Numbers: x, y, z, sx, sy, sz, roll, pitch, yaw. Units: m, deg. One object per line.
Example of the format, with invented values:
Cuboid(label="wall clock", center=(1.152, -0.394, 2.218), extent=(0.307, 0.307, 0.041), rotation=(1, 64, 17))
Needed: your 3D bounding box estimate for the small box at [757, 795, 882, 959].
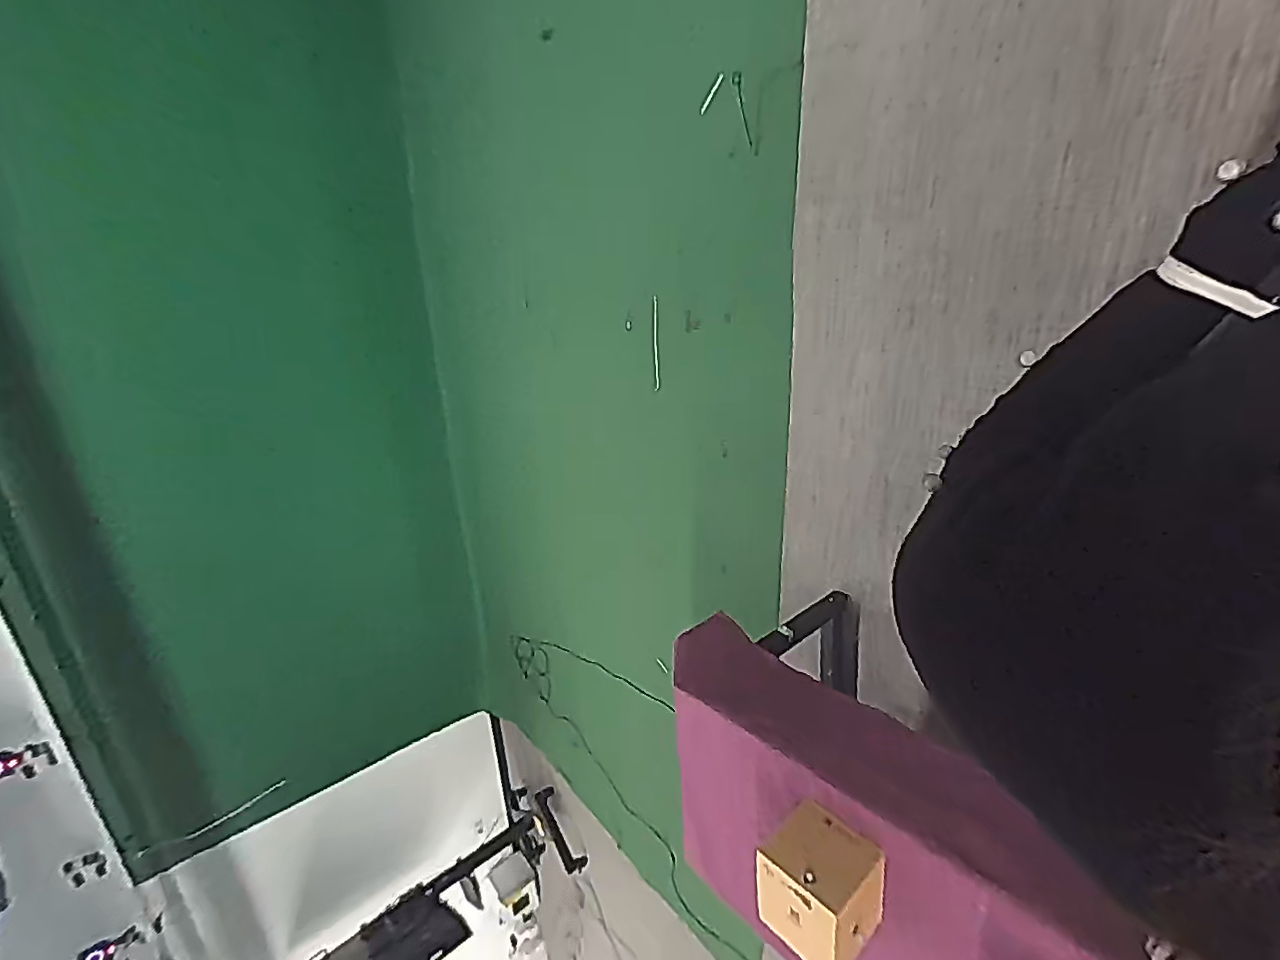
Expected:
Cuboid(label="small box", center=(0.343, 0.757, 1.031), extent=(0.168, 0.176, 0.179), rotation=(13, 115, 47))
